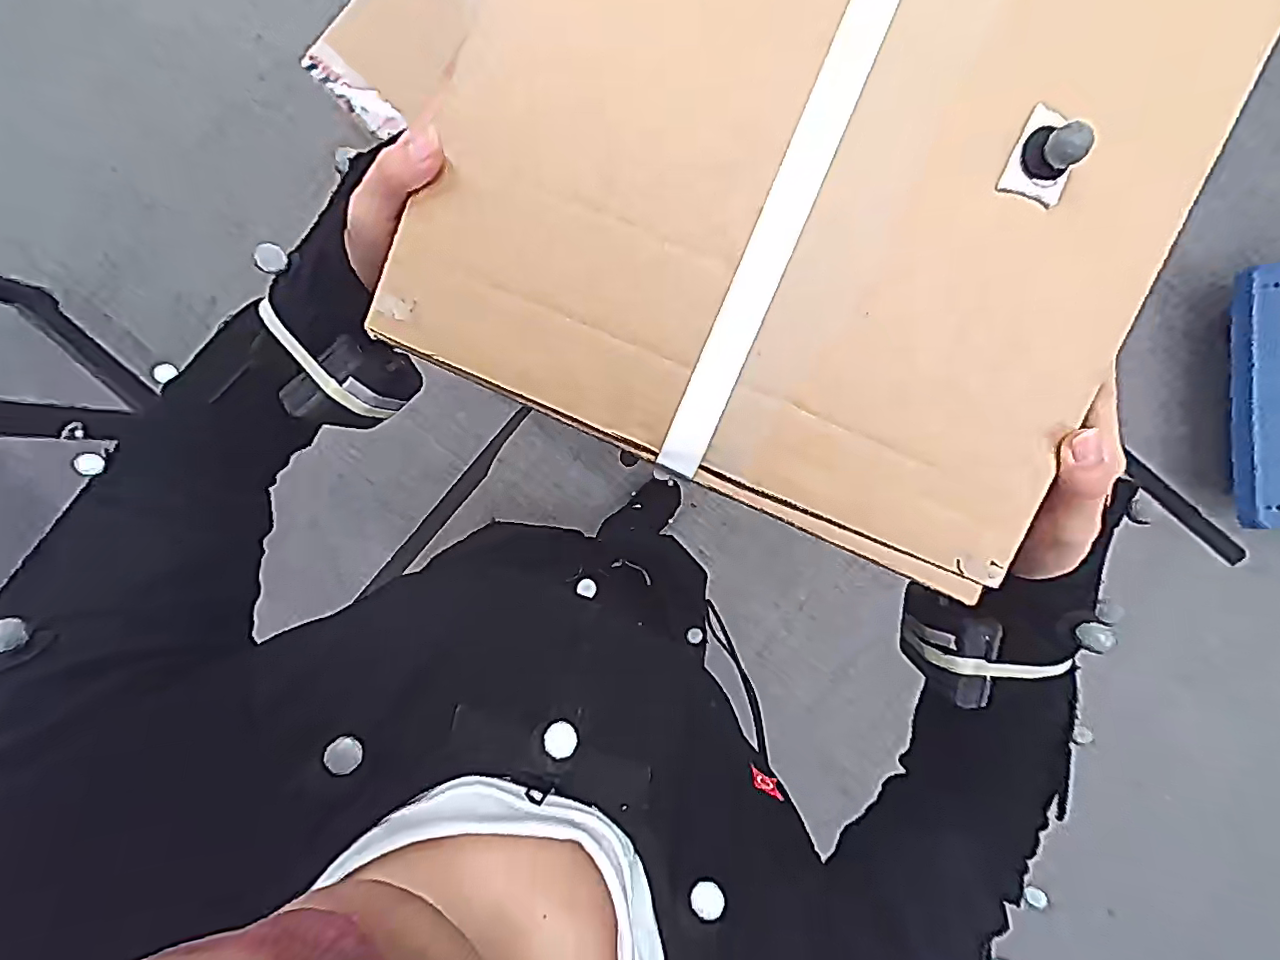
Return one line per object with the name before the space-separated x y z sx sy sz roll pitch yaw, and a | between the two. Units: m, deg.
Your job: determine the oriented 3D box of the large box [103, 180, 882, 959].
large box | -0.060 0.060 0.397 0.320 0.320 0.408 -12 109 38
